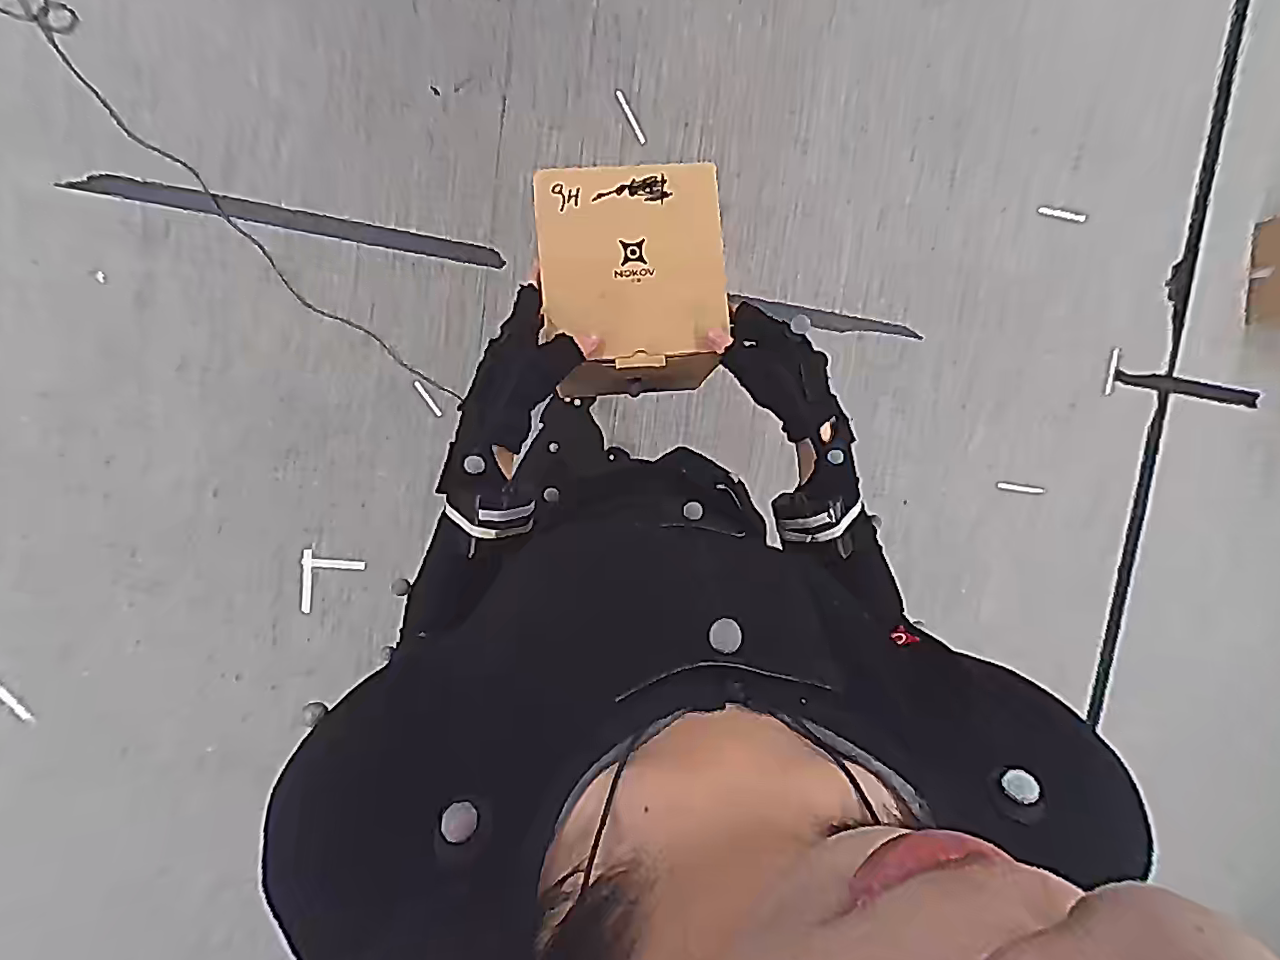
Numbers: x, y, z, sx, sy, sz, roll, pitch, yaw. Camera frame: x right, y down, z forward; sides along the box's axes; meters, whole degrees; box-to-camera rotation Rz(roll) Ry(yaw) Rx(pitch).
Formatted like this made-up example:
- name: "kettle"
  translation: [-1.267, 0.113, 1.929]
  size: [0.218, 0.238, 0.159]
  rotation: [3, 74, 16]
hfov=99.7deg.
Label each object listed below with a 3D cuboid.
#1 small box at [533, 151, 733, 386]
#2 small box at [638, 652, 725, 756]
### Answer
- name: "small box"
  translation: [-0.009, -0.195, 0.548]
  size: [0.168, 0.176, 0.179]
  rotation: [-5, 90, -4]
- name: "small box"
  translation: [0.106, 0.613, 1.500]
  size: [0.179, 0.176, 0.168]
  rotation: [-29, 99, -4]
